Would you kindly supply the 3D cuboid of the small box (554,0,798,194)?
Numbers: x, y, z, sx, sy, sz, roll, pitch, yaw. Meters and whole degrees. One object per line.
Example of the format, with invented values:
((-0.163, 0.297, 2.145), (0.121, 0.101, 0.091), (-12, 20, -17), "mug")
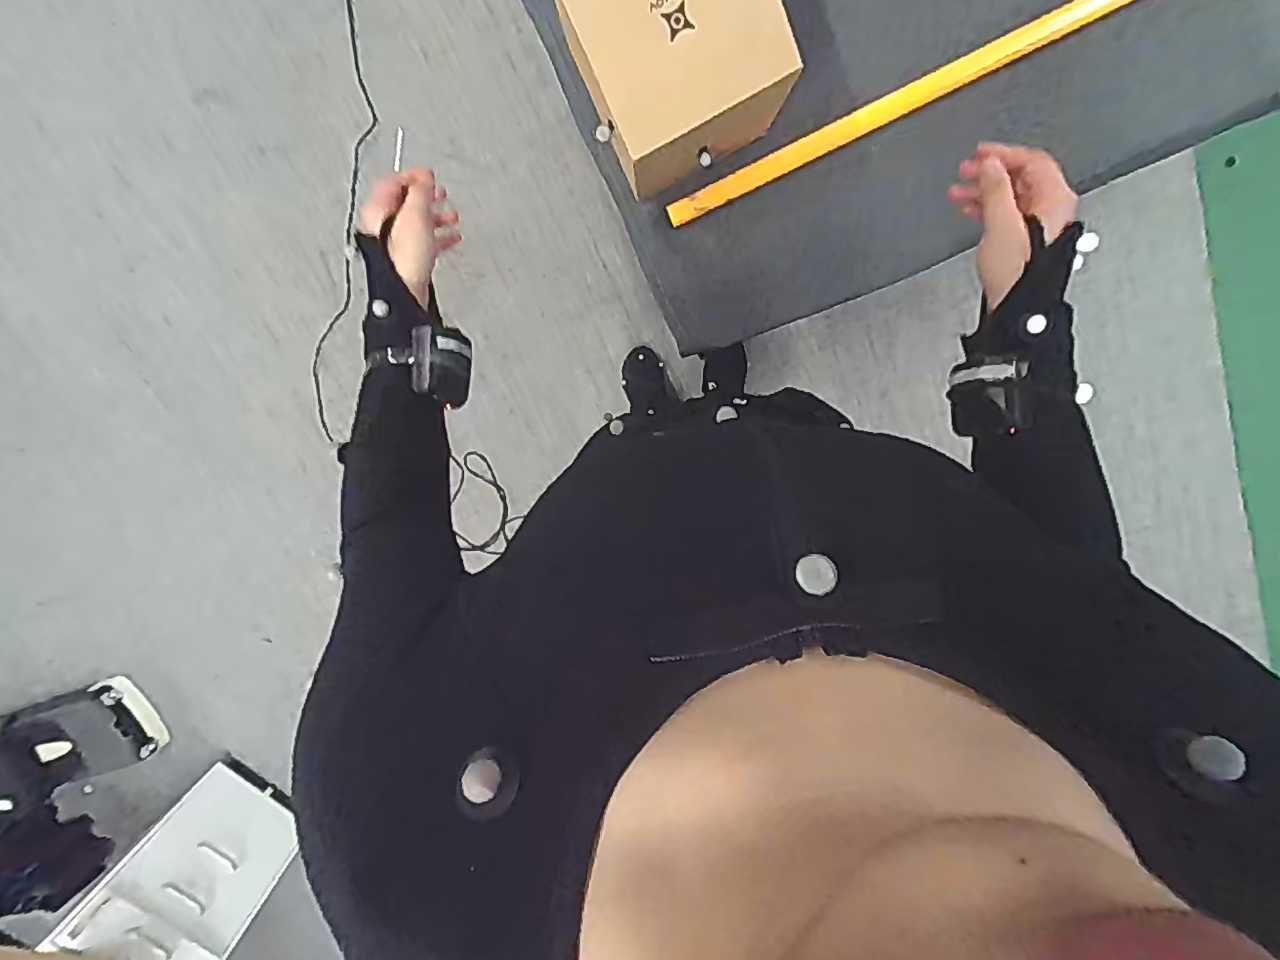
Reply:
((0.031, -0.411, 0.535), (0.168, 0.176, 0.179), (-25, 103, 8), "small box")
